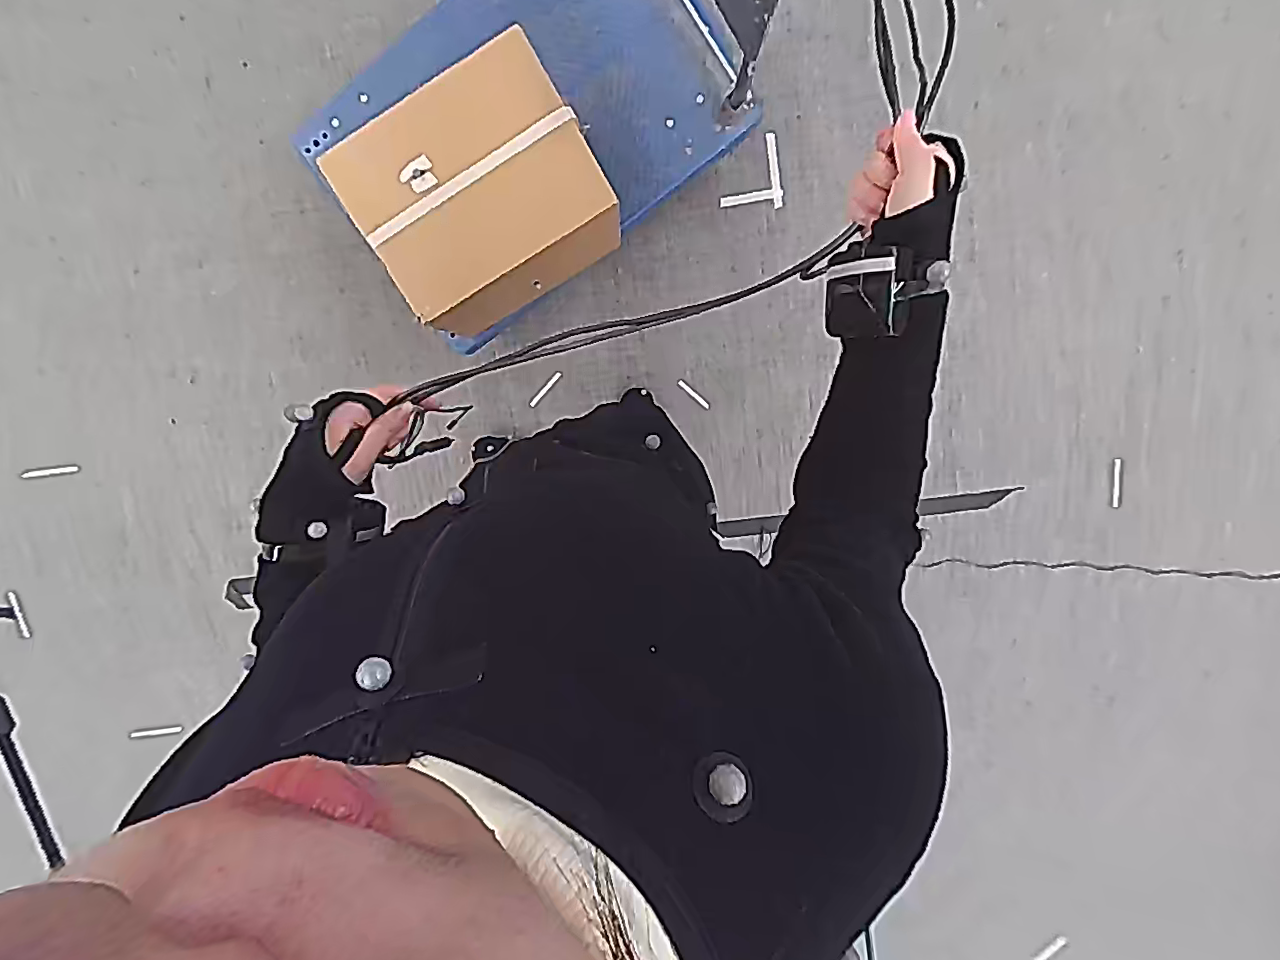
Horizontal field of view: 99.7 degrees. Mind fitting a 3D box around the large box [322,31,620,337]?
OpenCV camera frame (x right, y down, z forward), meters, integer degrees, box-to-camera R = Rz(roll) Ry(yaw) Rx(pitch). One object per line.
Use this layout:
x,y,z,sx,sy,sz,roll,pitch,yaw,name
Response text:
-0.286,-0.522,1.050,0.408,0.320,0.320,-30,99,5,large box
